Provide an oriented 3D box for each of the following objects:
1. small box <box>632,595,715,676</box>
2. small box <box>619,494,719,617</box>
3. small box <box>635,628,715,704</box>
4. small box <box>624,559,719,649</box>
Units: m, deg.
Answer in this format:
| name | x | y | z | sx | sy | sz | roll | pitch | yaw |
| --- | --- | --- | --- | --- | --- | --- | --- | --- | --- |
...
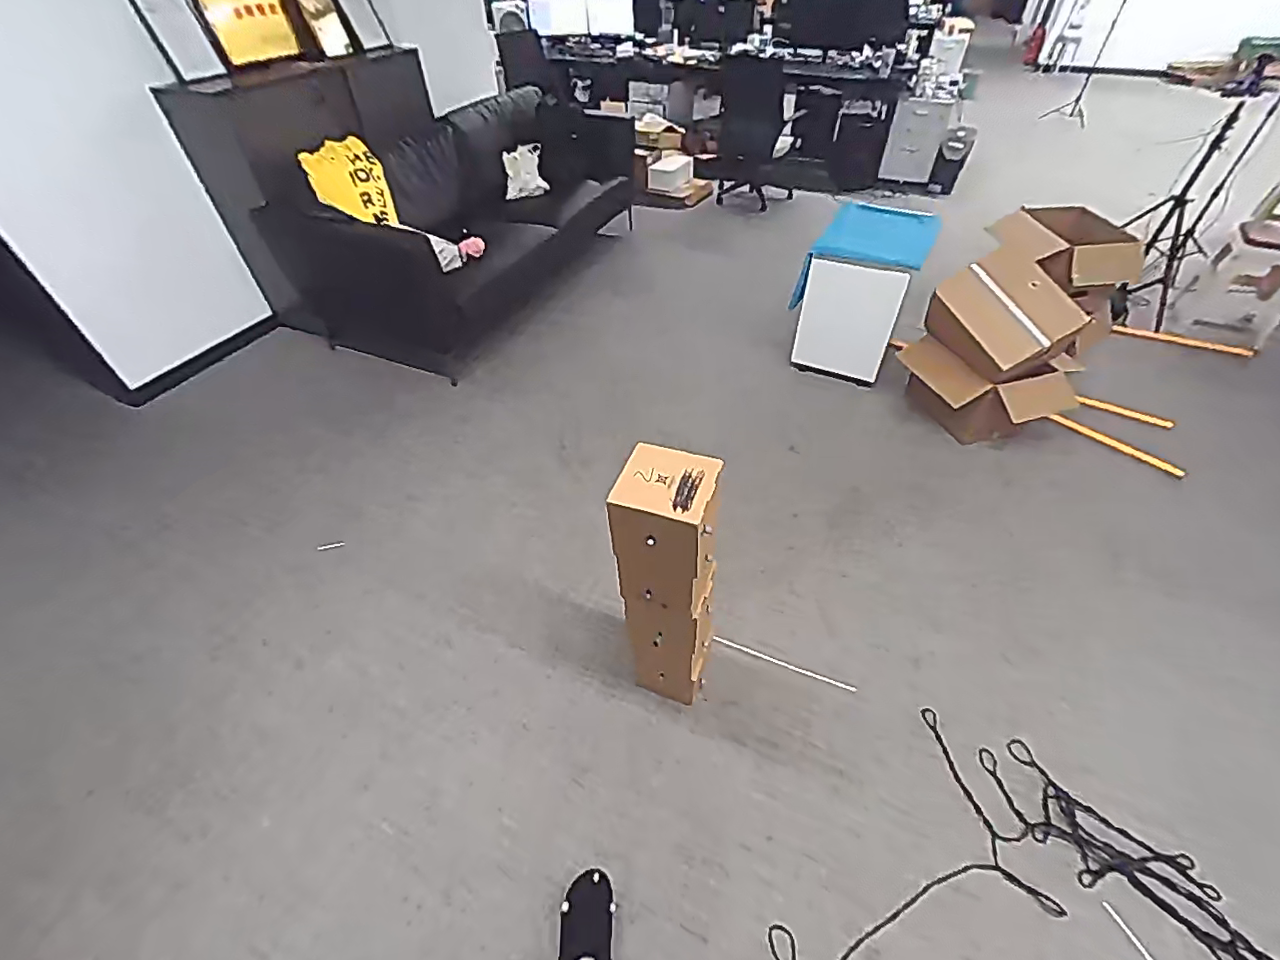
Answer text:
| name | x | y | z | sx | sy | sz | roll | pitch | yaw |
| --- | --- | --- | --- | --- | --- | --- | --- | --- | --- |
| small box | 0.085 | 0.381 | 1.408 | 0.179 | 0.176 | 0.168 | 16 | 49 | 18 |
| small box | 0.065 | 0.162 | 1.167 | 0.168 | 0.176 | 0.179 | 14 | 49 | 17 |
| small box | 0.099 | 0.500 | 1.520 | 0.179 | 0.176 | 0.168 | 16 | 48 | 17 |
| small box | 0.077 | 0.277 | 1.282 | 0.179 | 0.176 | 0.168 | 15 | 48 | 16 |
